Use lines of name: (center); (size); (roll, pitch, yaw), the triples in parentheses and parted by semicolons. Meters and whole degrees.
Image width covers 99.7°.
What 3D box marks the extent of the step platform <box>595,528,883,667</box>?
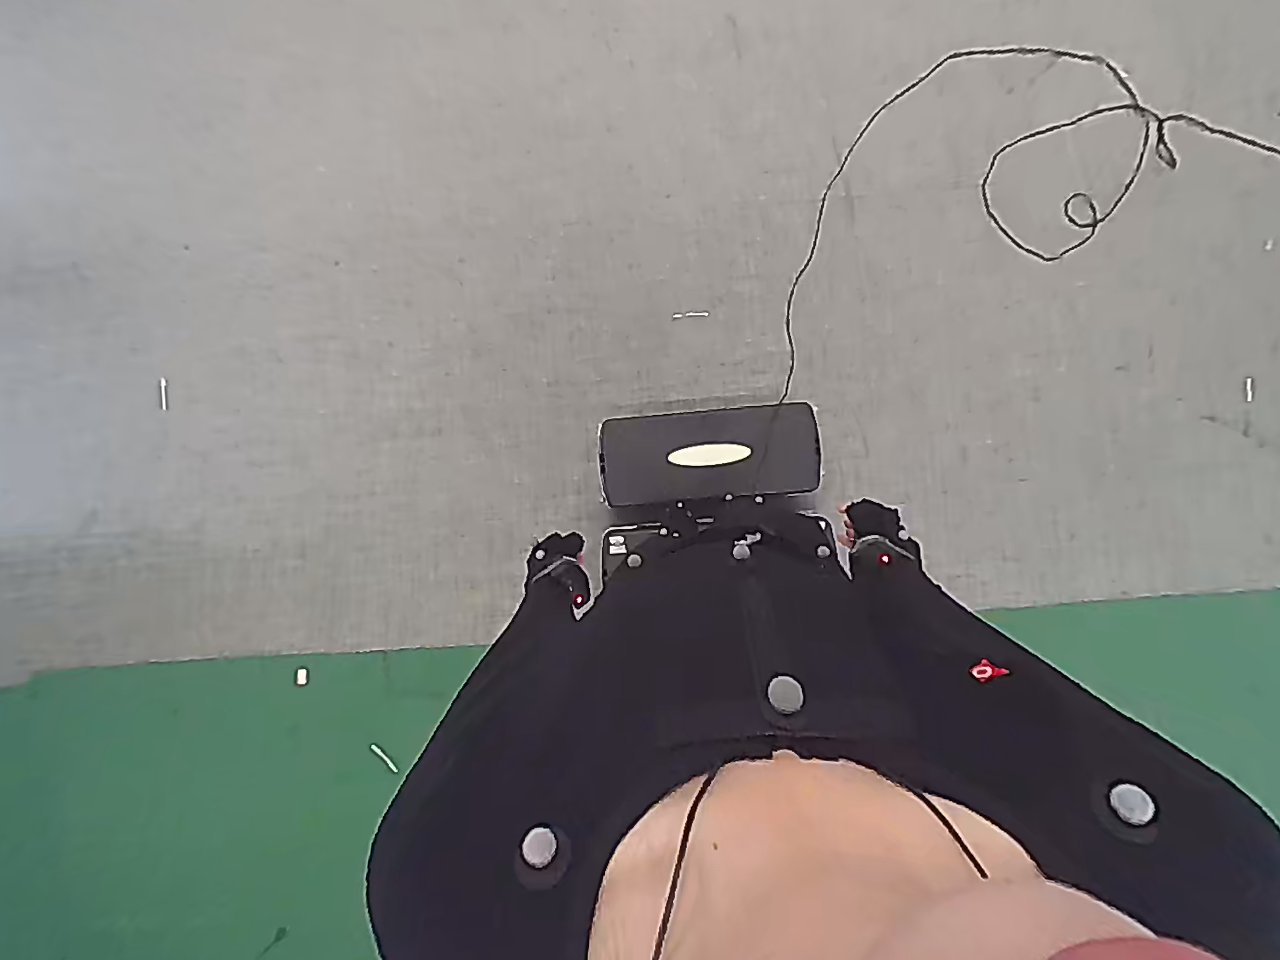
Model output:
step platform: (0.234, 0.289, 1.377); (0.684, 0.204, 0.286); (-4, 86, 1)
